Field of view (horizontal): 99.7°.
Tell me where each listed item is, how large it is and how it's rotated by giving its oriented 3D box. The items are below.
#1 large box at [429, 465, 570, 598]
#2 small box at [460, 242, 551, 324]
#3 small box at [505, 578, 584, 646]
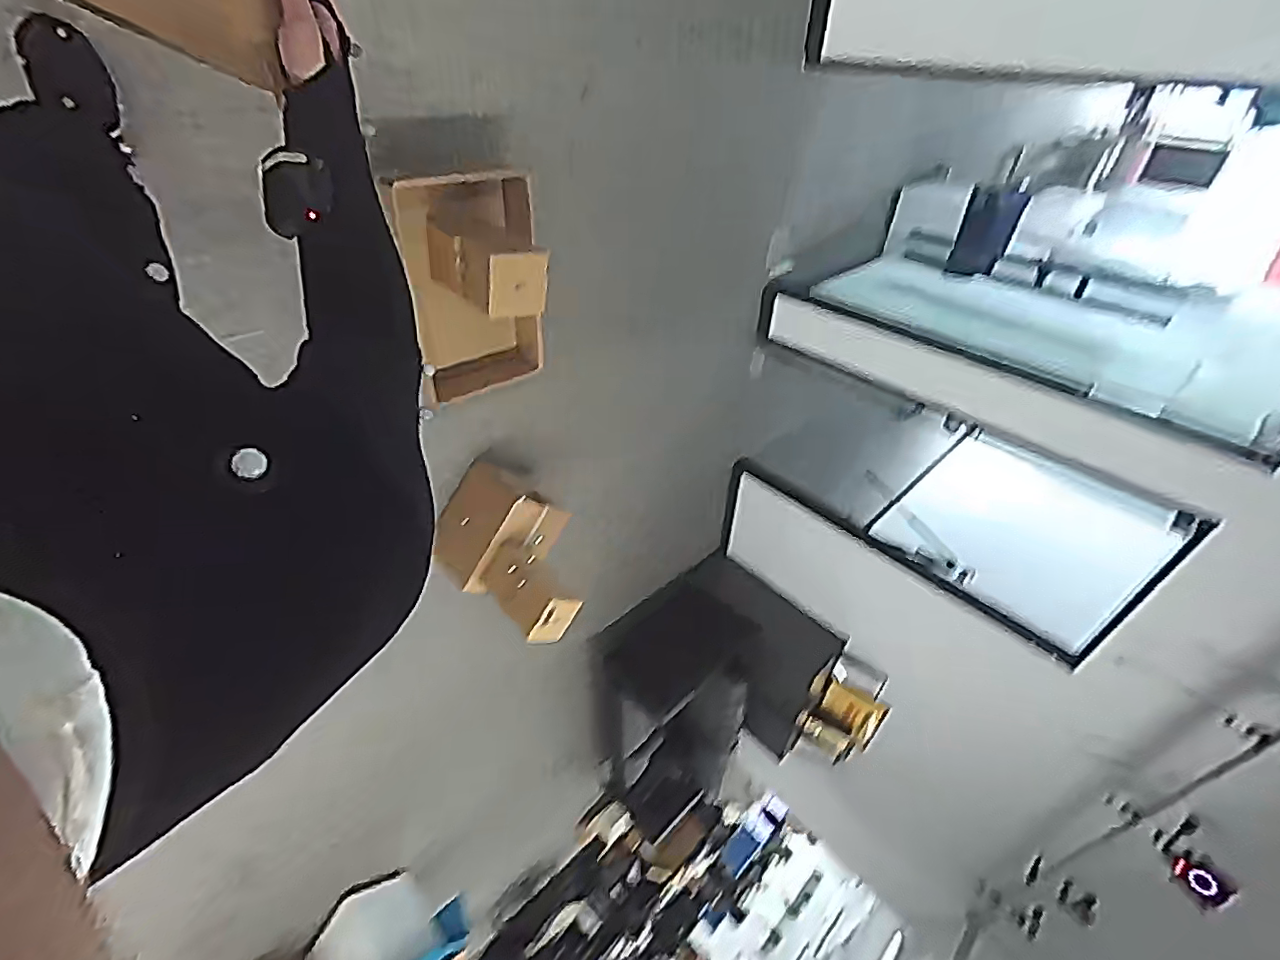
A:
[{"bbox_3d":[-0.559,0.211,2.140,0.320,0.320,0.408,23,99,-56],"label":"large box"},{"bbox_3d":[-0.367,-0.541,1.469,0.179,0.176,0.168,-21,136,-39],"label":"small box"},{"bbox_3d":[-0.337,0.458,1.887,0.168,0.176,0.179,-58,146,4],"label":"small box"}]
